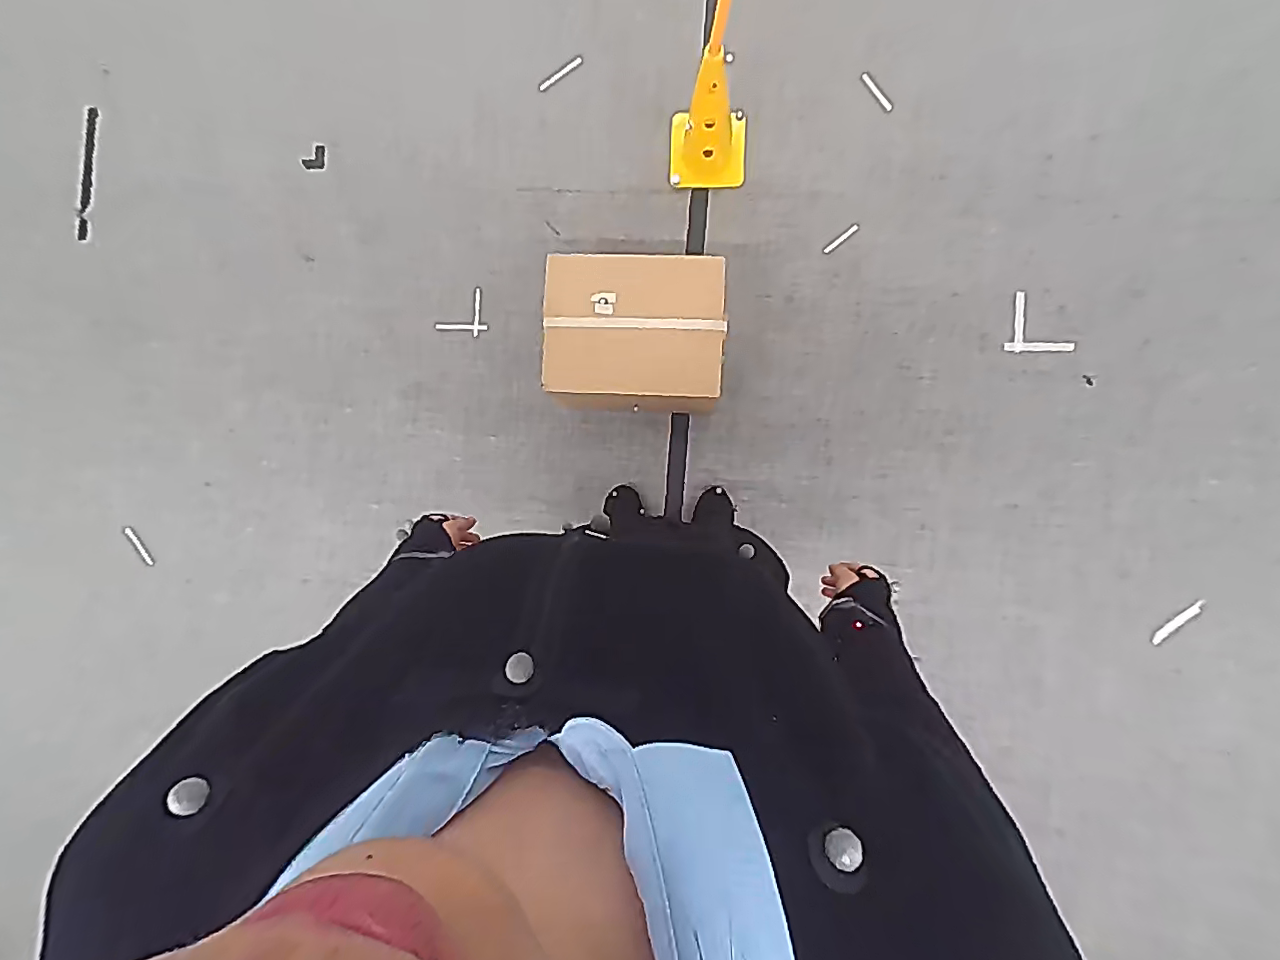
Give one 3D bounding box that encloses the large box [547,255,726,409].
[{"bbox_3d":[0.007,-0.350,1.358,0.408,0.320,0.320,3,90,6],"label":"large box"}]
